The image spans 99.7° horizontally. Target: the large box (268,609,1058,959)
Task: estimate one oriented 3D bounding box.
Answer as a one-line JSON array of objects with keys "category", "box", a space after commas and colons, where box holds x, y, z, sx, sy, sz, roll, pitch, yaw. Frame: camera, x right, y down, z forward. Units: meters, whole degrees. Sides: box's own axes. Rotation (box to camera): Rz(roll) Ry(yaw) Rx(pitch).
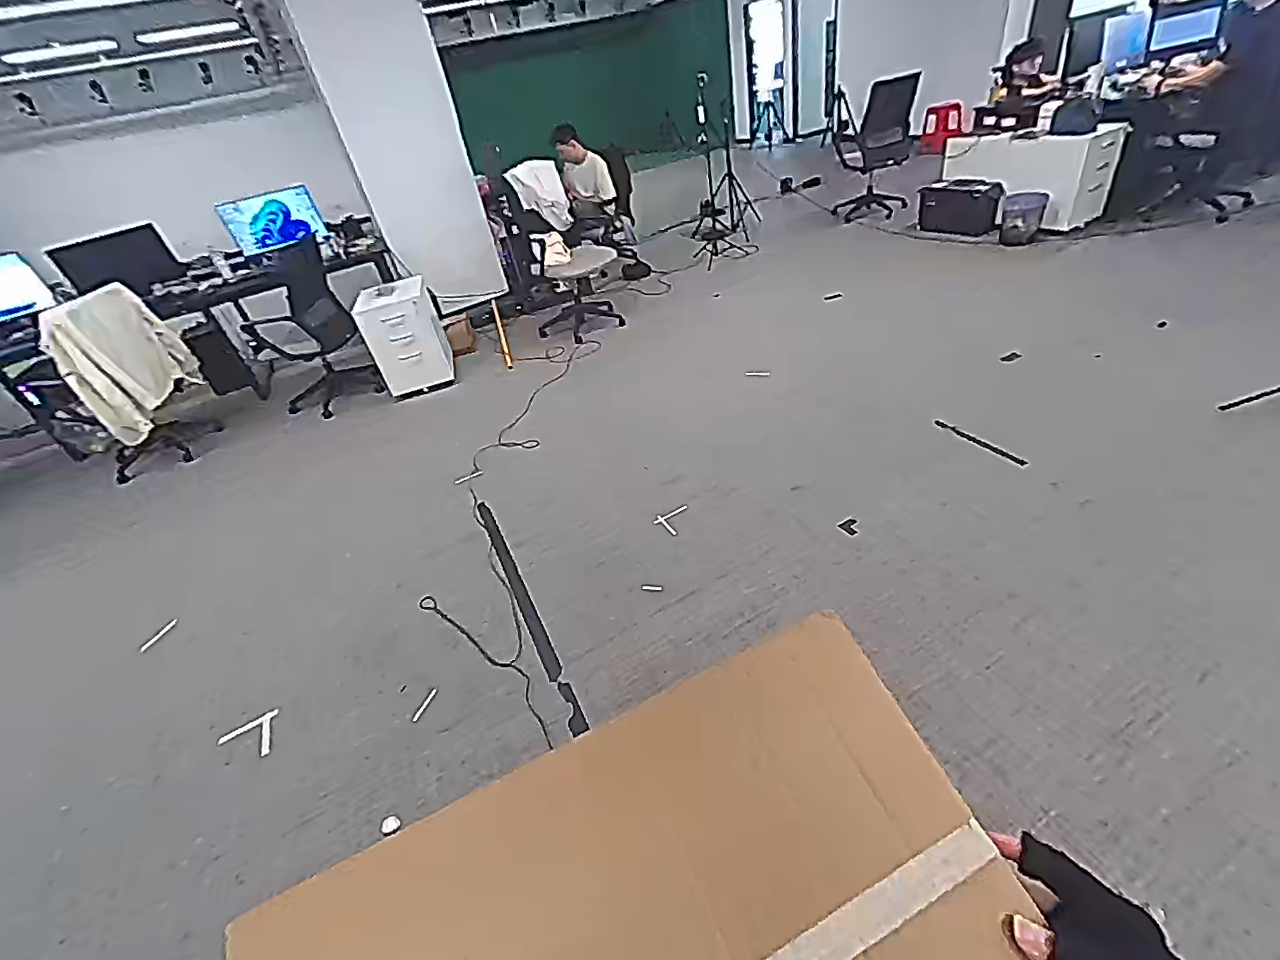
[{"category": "large box", "box": [0.024, 0.364, 0.420, 0.408, 0.320, 0.320, -23, 64, -14]}]
